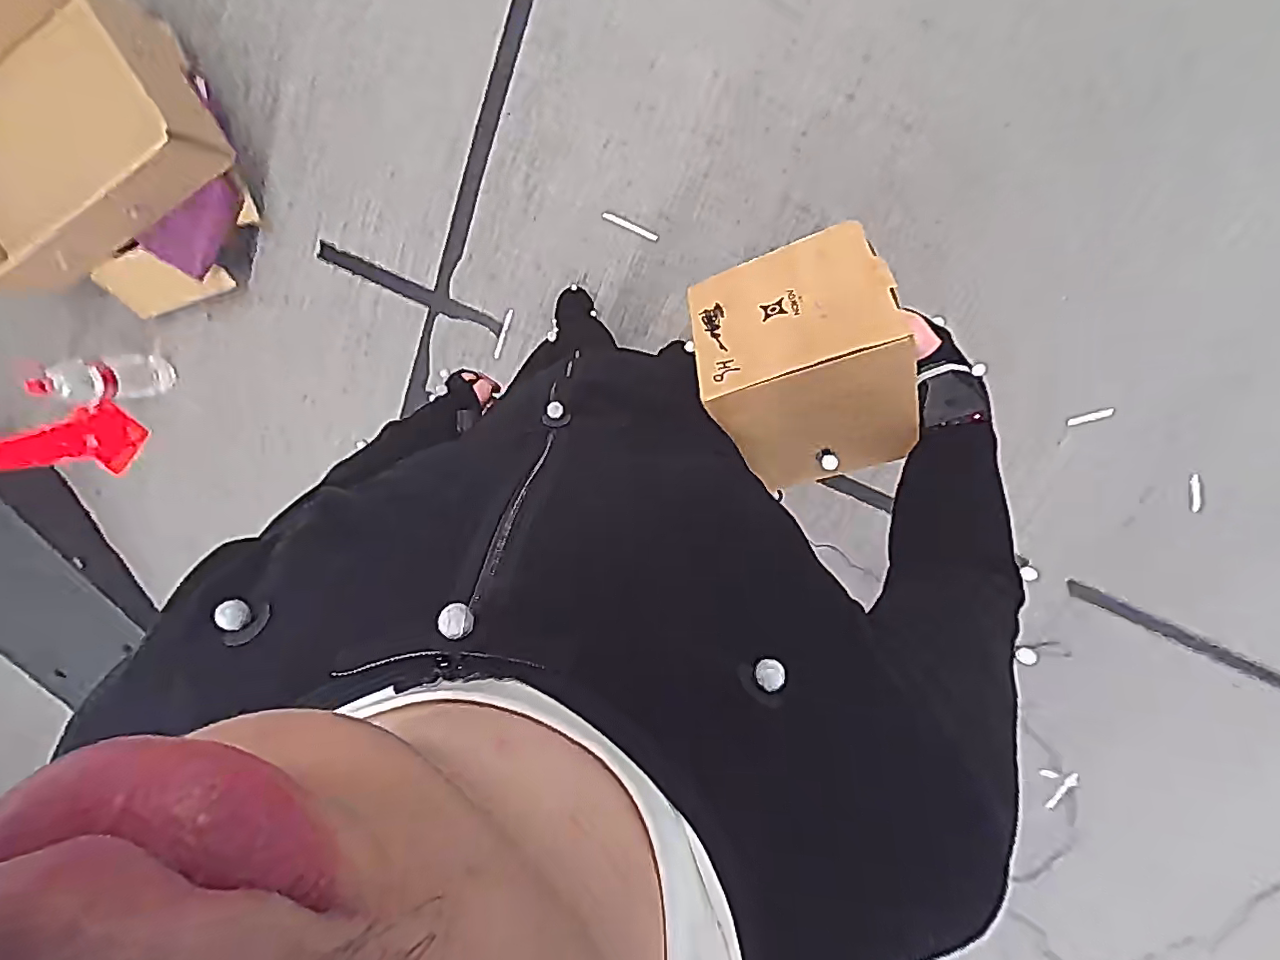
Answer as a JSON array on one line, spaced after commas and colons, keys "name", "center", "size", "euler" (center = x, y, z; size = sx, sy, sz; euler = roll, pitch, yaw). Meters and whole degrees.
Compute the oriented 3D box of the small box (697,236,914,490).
[{"name": "small box", "center": [0.172, -0.112, 0.570], "size": [0.179, 0.168, 0.176], "euler": [-14, 142, 18]}]
